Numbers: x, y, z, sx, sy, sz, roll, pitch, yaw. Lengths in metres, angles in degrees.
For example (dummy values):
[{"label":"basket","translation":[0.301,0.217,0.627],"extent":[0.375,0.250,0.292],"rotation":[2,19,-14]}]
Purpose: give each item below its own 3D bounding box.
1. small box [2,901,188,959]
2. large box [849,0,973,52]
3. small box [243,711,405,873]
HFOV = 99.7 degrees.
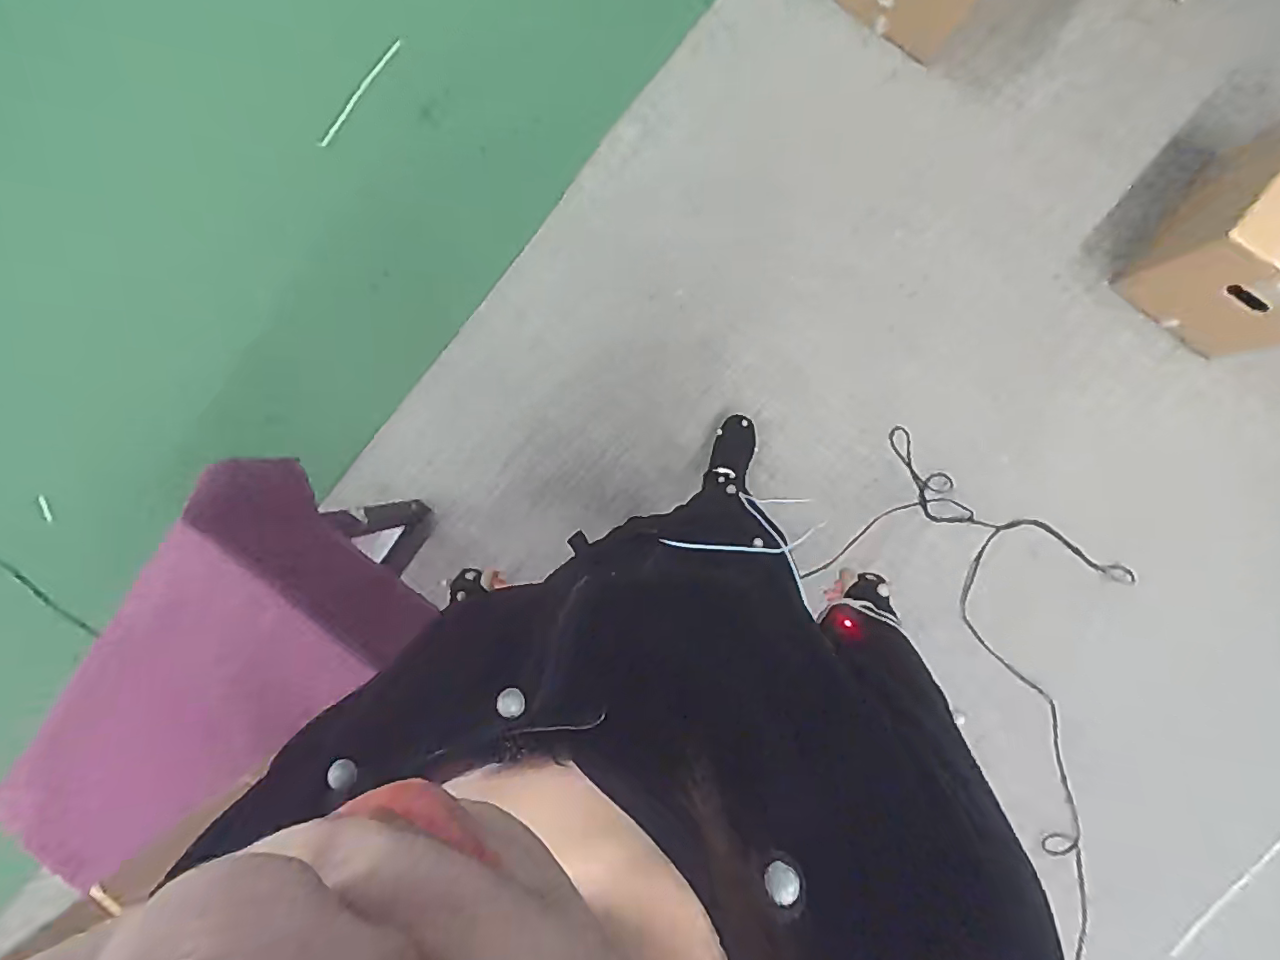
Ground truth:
[{"label":"small box","translation":[-0.490,0.492,0.428],"extent":[0.179,0.176,0.168],"rotation":[38,97,1]},{"label":"large box","translation":[0.725,-1.325,1.225],"extent":[0.320,0.320,0.408],"rotation":[39,94,3]},{"label":"small box","translation":[-0.463,0.465,0.755],"extent":[0.168,0.176,0.179],"rotation":[39,95,2]}]
